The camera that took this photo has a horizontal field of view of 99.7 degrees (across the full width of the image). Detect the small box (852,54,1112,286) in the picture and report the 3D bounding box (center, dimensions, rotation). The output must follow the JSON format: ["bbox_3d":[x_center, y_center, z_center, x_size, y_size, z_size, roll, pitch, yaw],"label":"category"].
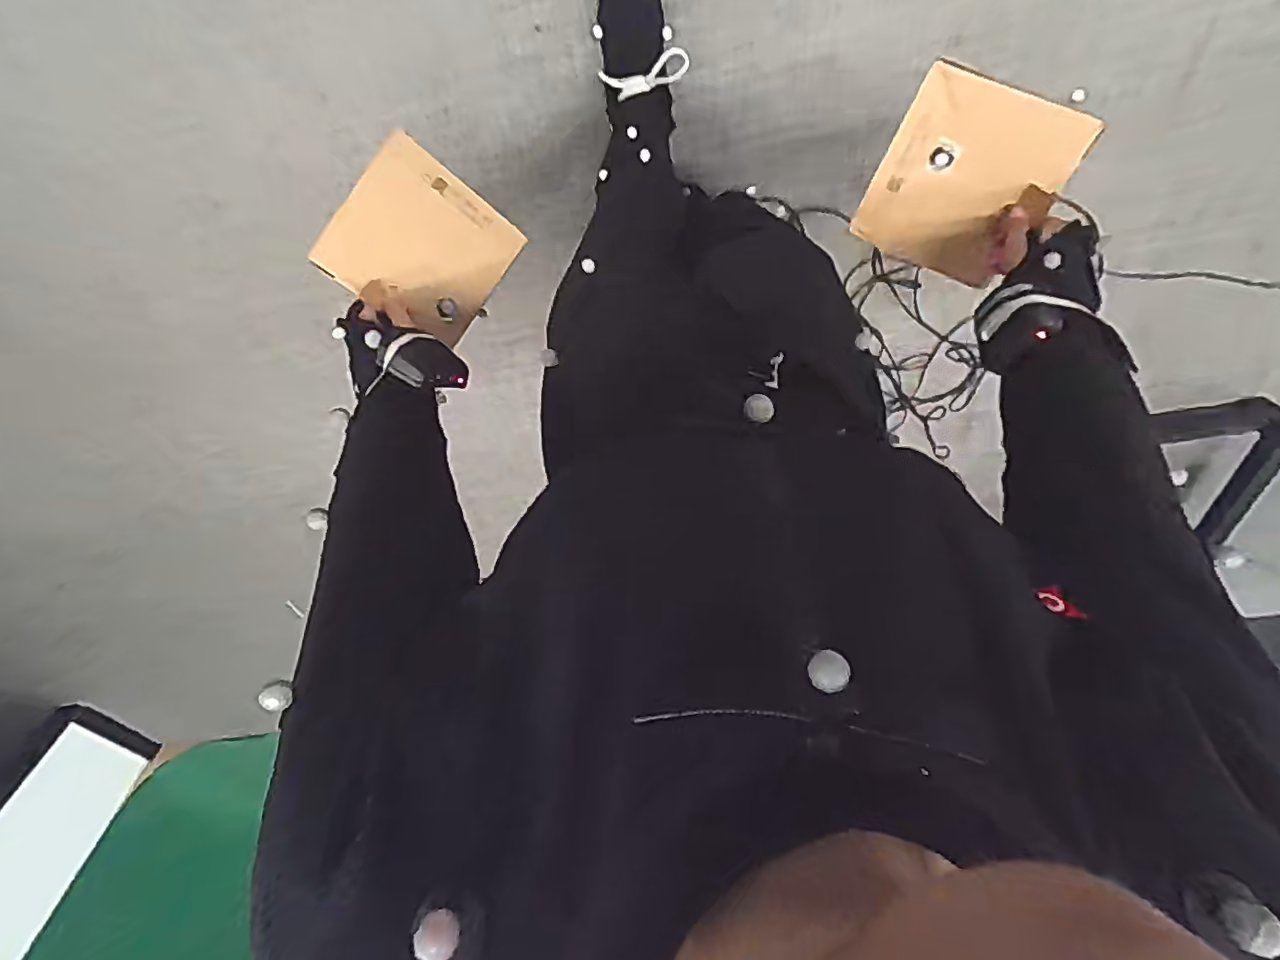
[{"bbox_3d":[0.364,-0.351,0.608,0.176,0.179,0.168,29,133,9],"label":"small box"}]
